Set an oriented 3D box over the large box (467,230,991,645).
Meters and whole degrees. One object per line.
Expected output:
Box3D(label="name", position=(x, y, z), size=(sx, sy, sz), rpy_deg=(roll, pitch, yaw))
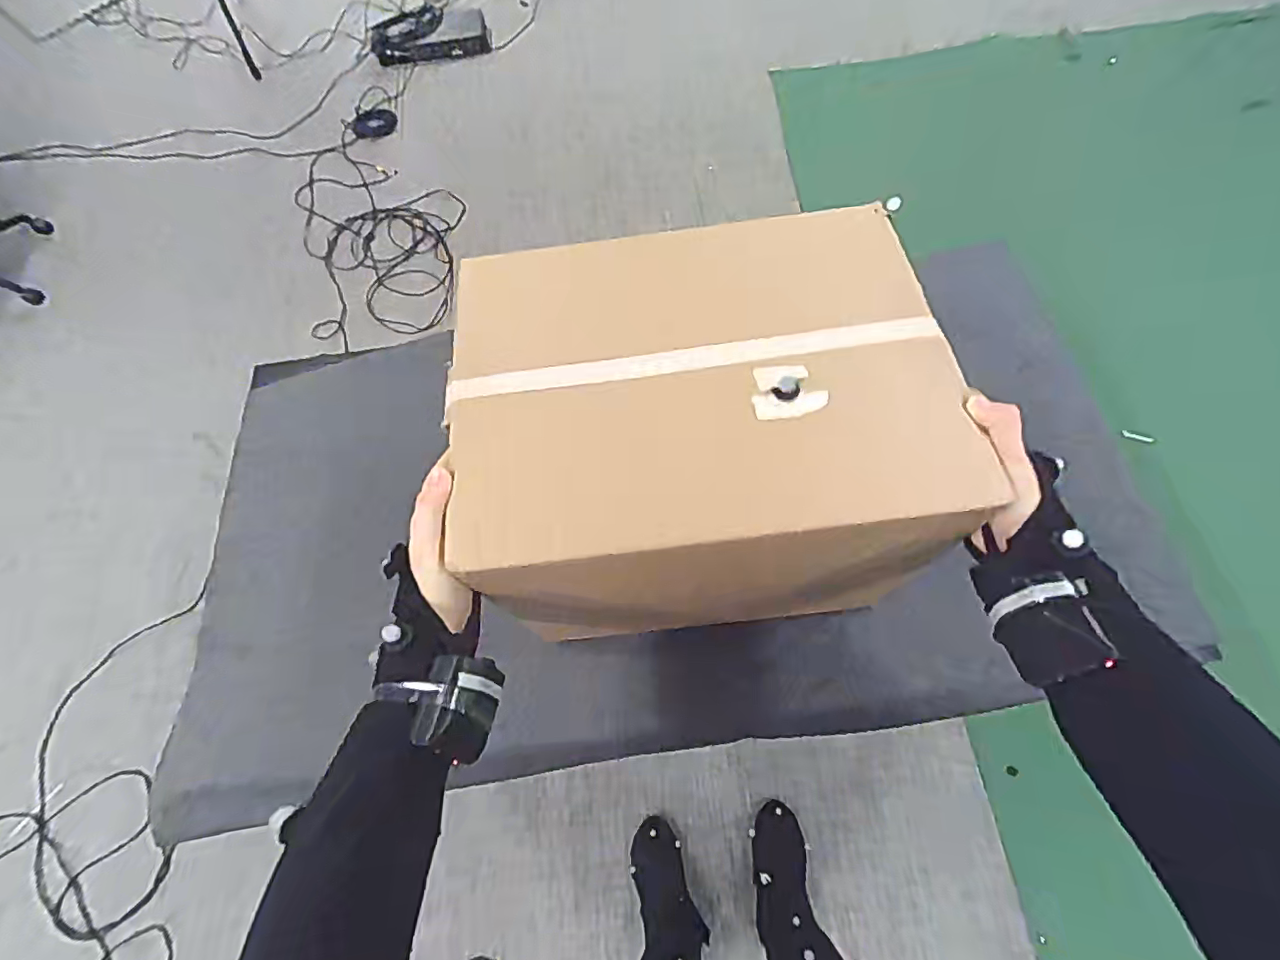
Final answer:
Box3D(label="large box", position=(0.058, -0.020, 0.599), size=(0.408, 0.320, 0.320), rpy_deg=(-7, 65, 1))
